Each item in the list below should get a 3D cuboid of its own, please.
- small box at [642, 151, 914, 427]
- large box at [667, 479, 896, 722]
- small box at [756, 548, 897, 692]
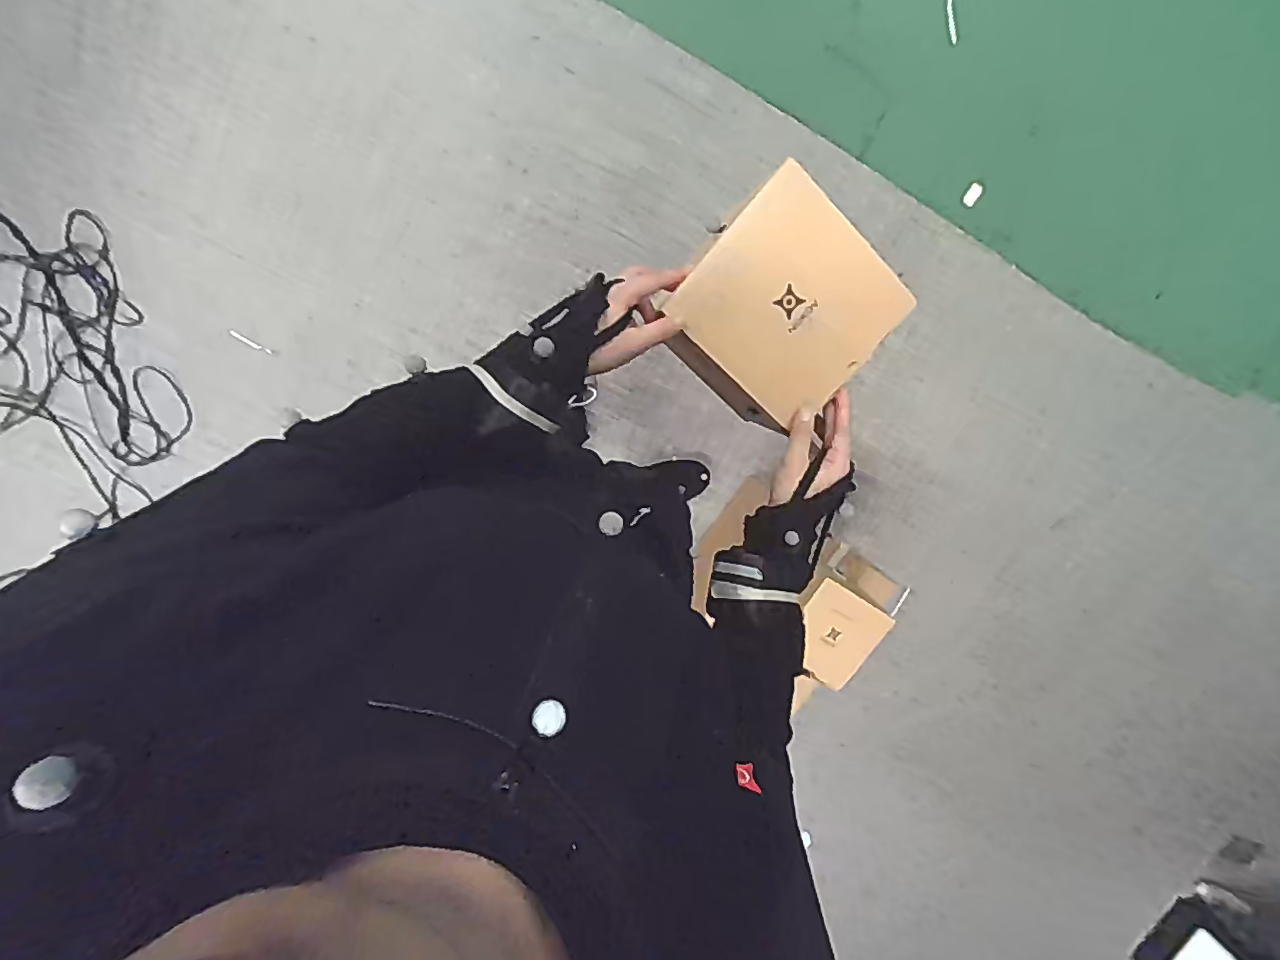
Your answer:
[{"bbox_3d":[0.120,-0.177,0.548,0.179,0.176,0.168,39,96,-14],"label":"small box"},{"bbox_3d":[0.307,0.268,1.296,0.320,0.320,0.408,33,101,-9],"label":"large box"},{"bbox_3d":[0.345,0.262,1.047,0.168,0.176,0.179,31,99,-10],"label":"small box"}]
